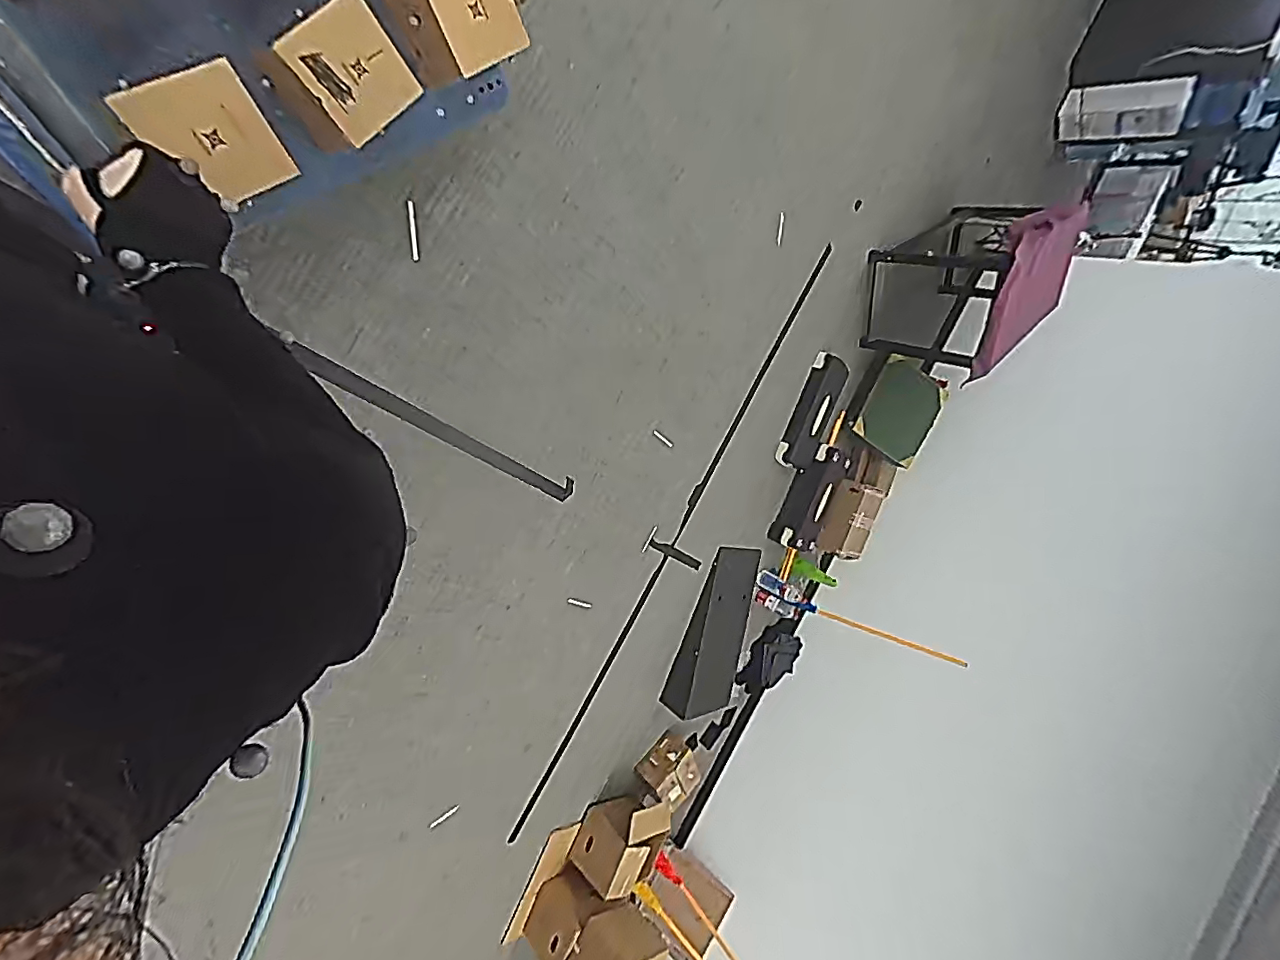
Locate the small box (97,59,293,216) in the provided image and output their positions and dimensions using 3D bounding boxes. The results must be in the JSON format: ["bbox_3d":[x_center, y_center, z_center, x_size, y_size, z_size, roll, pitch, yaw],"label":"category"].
[{"bbox_3d":[-0.717,-0.547,0.876,0.179,0.176,0.168,-44,137,-24],"label":"small box"}]

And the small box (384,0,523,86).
[{"bbox_3d":[-0.371,-0.905,1.059,0.179,0.176,0.168,-46,137,-21],"label":"small box"}]

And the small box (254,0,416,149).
[{"bbox_3d":[-0.548,-0.720,0.965,0.179,0.176,0.168,-53,139,-14],"label":"small box"}]
